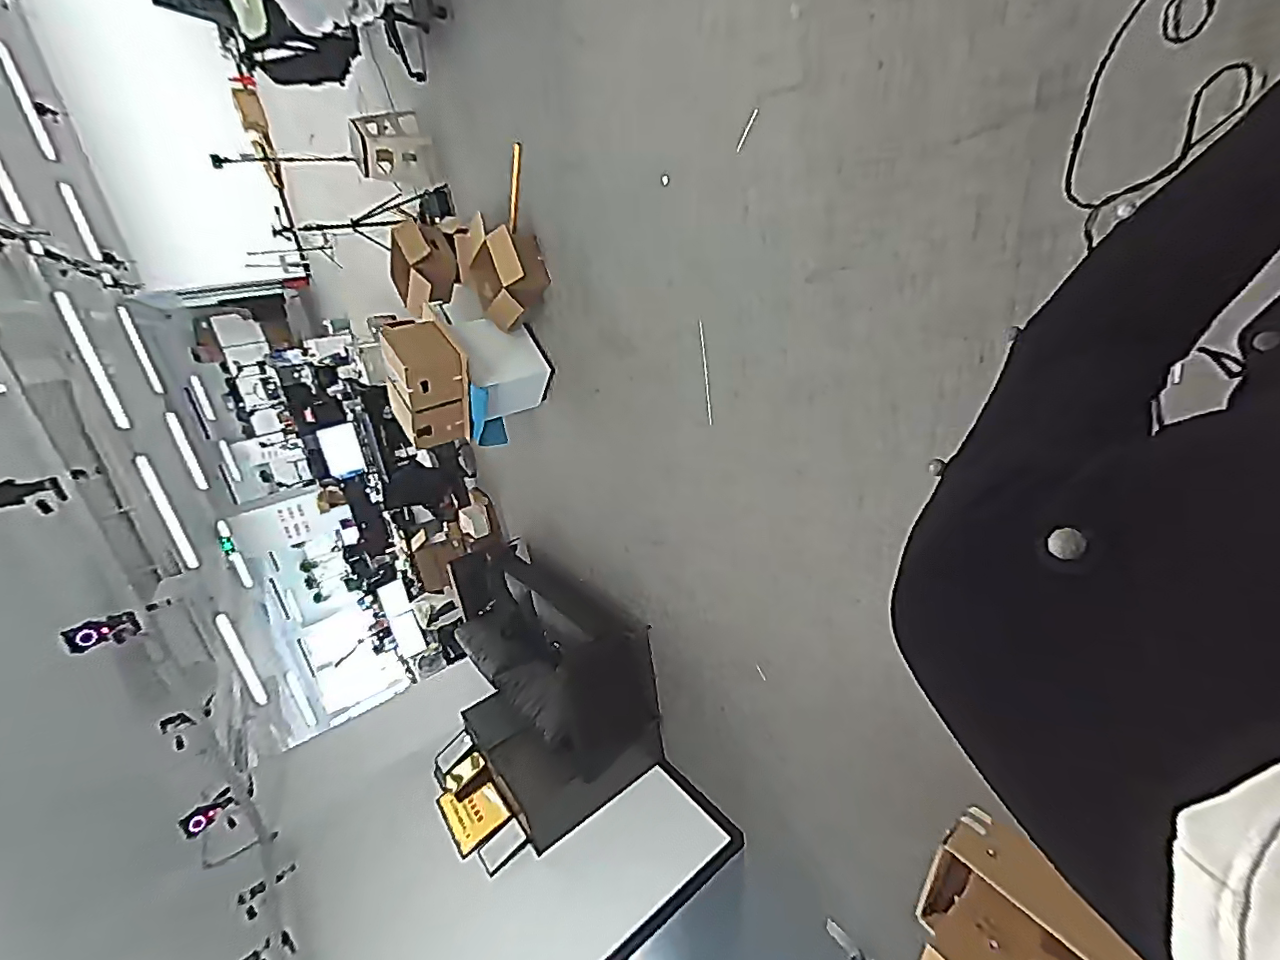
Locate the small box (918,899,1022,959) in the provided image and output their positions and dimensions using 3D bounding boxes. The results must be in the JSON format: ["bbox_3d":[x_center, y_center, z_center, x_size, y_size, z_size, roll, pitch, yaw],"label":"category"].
[{"bbox_3d":[0.822,1.220,1.359,0.168,0.176,0.179,30,131,45],"label":"small box"}]
